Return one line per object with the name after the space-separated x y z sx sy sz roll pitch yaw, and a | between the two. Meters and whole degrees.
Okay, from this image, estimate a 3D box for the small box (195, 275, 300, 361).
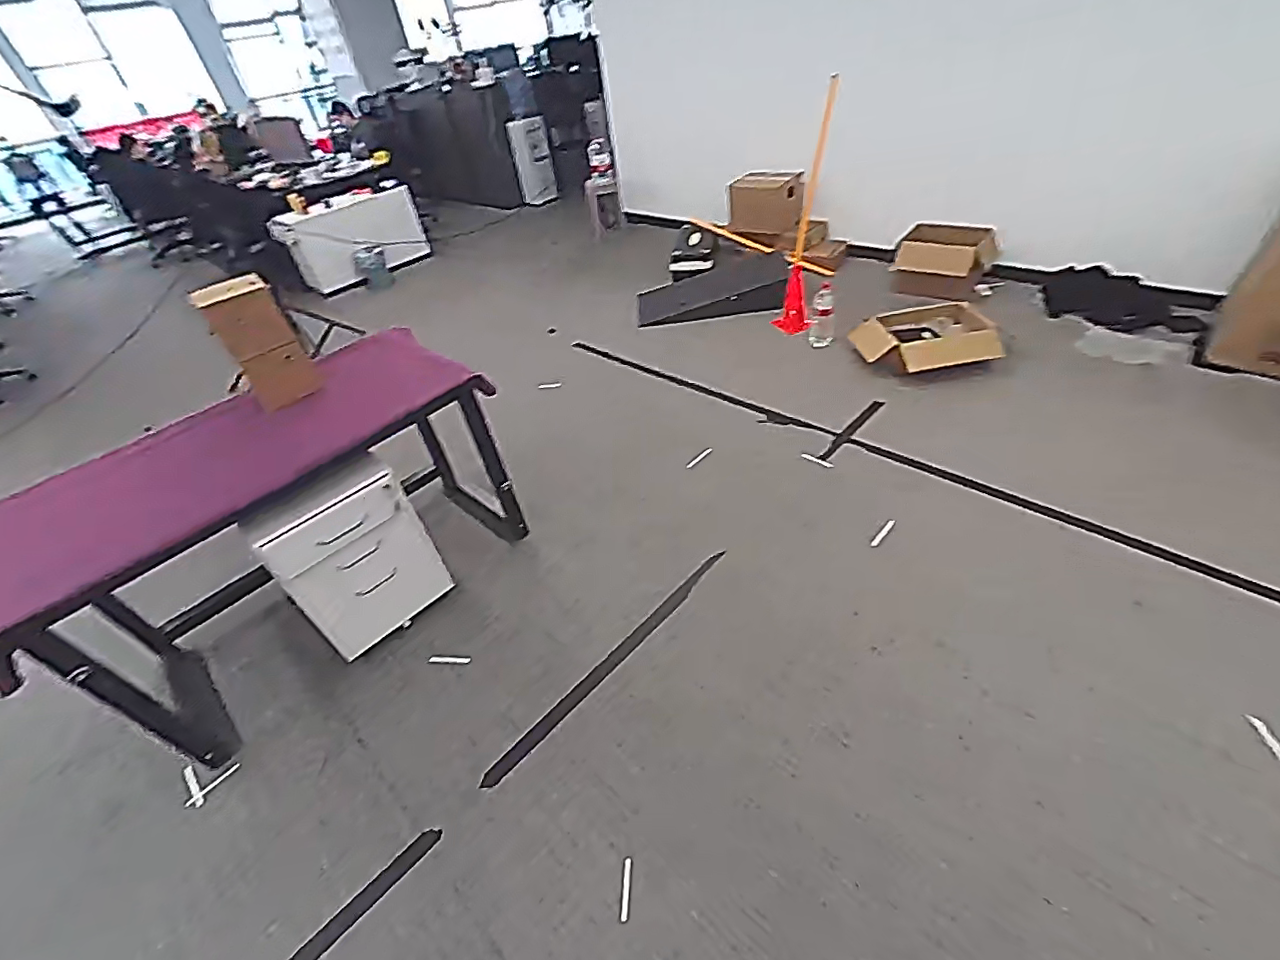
-1.140 -0.470 1.575 0.179 0.176 0.168 -35 48 -25 | small box

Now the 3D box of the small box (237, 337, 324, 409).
-1.118 -0.349 1.683 0.179 0.176 0.168 -36 48 -26 | small box
